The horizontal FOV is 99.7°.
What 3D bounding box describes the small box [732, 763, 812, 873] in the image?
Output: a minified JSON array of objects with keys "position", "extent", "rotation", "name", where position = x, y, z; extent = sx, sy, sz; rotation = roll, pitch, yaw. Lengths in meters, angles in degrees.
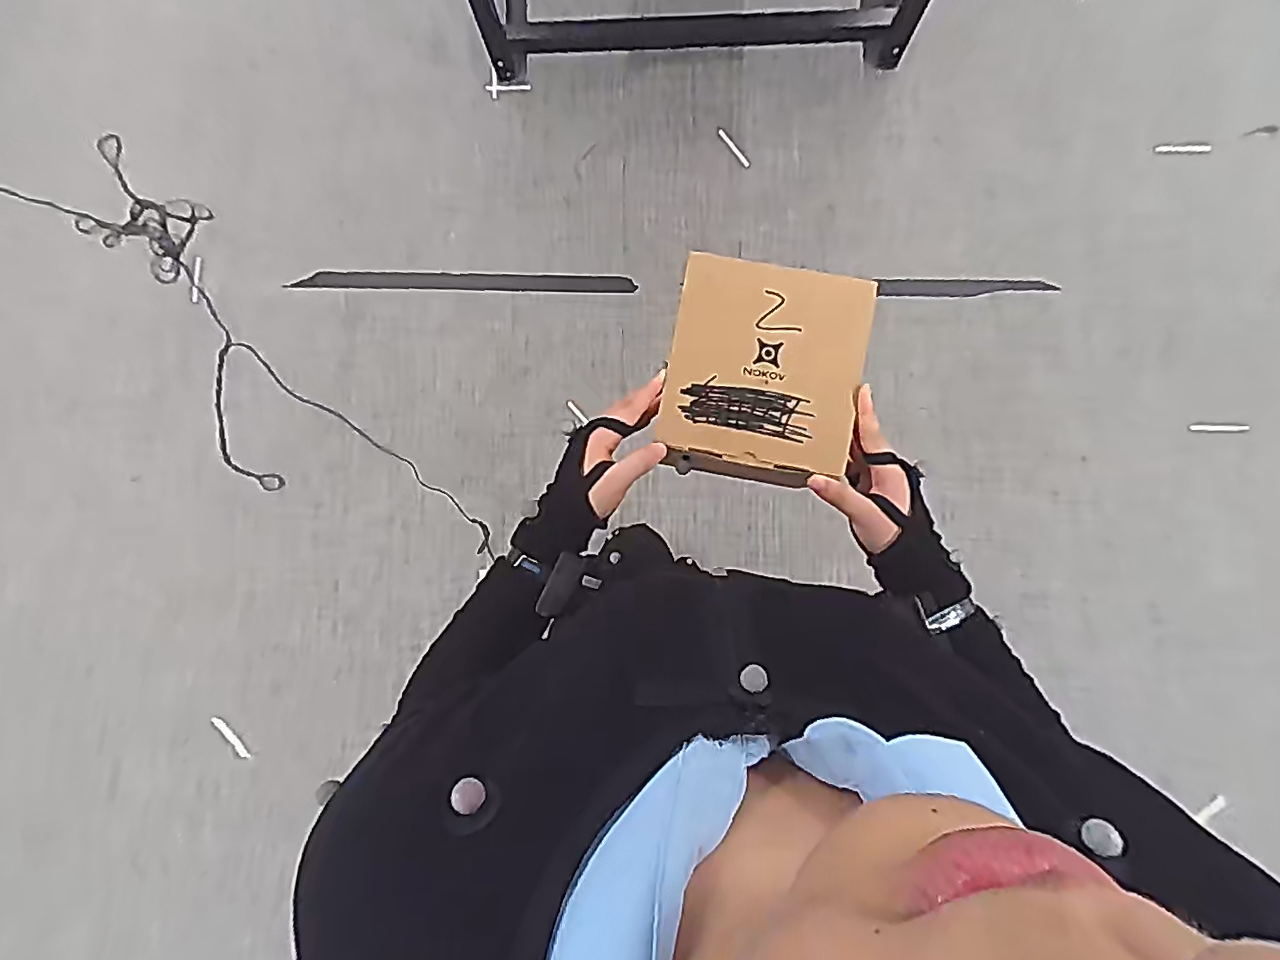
[{"position":[0.327,0.840,1.356],"extent":[0.168,0.176,0.179],"rotation":[1,85,2],"name":"small box"}]
